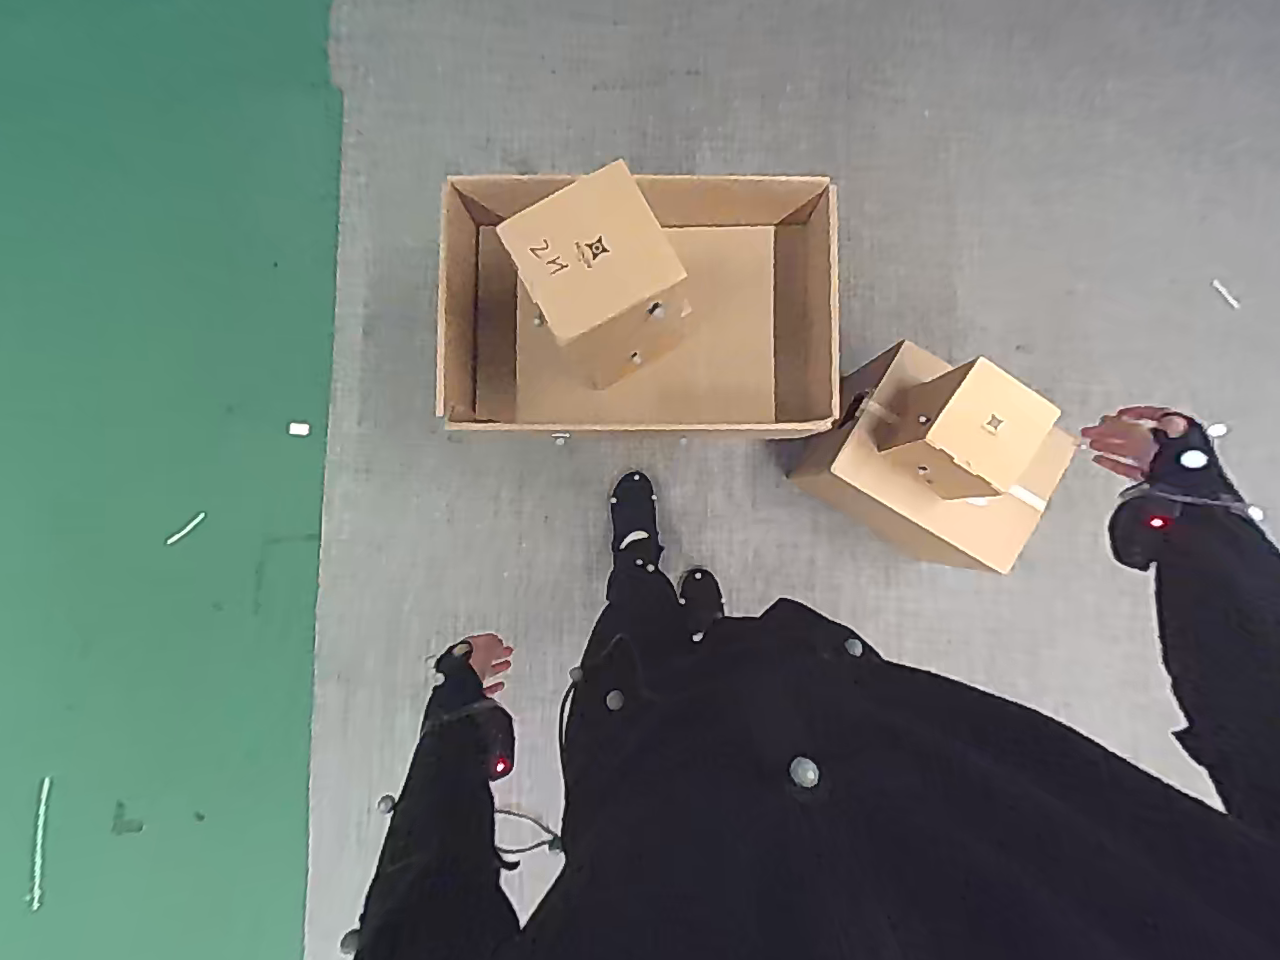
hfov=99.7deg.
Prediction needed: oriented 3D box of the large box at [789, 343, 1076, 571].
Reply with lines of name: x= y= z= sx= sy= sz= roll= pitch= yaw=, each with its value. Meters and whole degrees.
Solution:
large box: x=0.613 y=-0.040 z=1.209 sx=0.408 sy=0.320 sz=0.320 roll=31 pitch=88 yaw=1

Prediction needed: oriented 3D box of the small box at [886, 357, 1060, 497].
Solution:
small box: x=0.579 y=-0.084 z=0.968 sx=0.168 sy=0.176 sz=0.179 roll=35 pitch=87 yaw=2

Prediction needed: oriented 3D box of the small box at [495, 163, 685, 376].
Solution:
small box: x=-0.059 y=-0.261 z=0.712 sx=0.179 sy=0.176 sz=0.168 roll=-29 pitch=86 yaw=0
